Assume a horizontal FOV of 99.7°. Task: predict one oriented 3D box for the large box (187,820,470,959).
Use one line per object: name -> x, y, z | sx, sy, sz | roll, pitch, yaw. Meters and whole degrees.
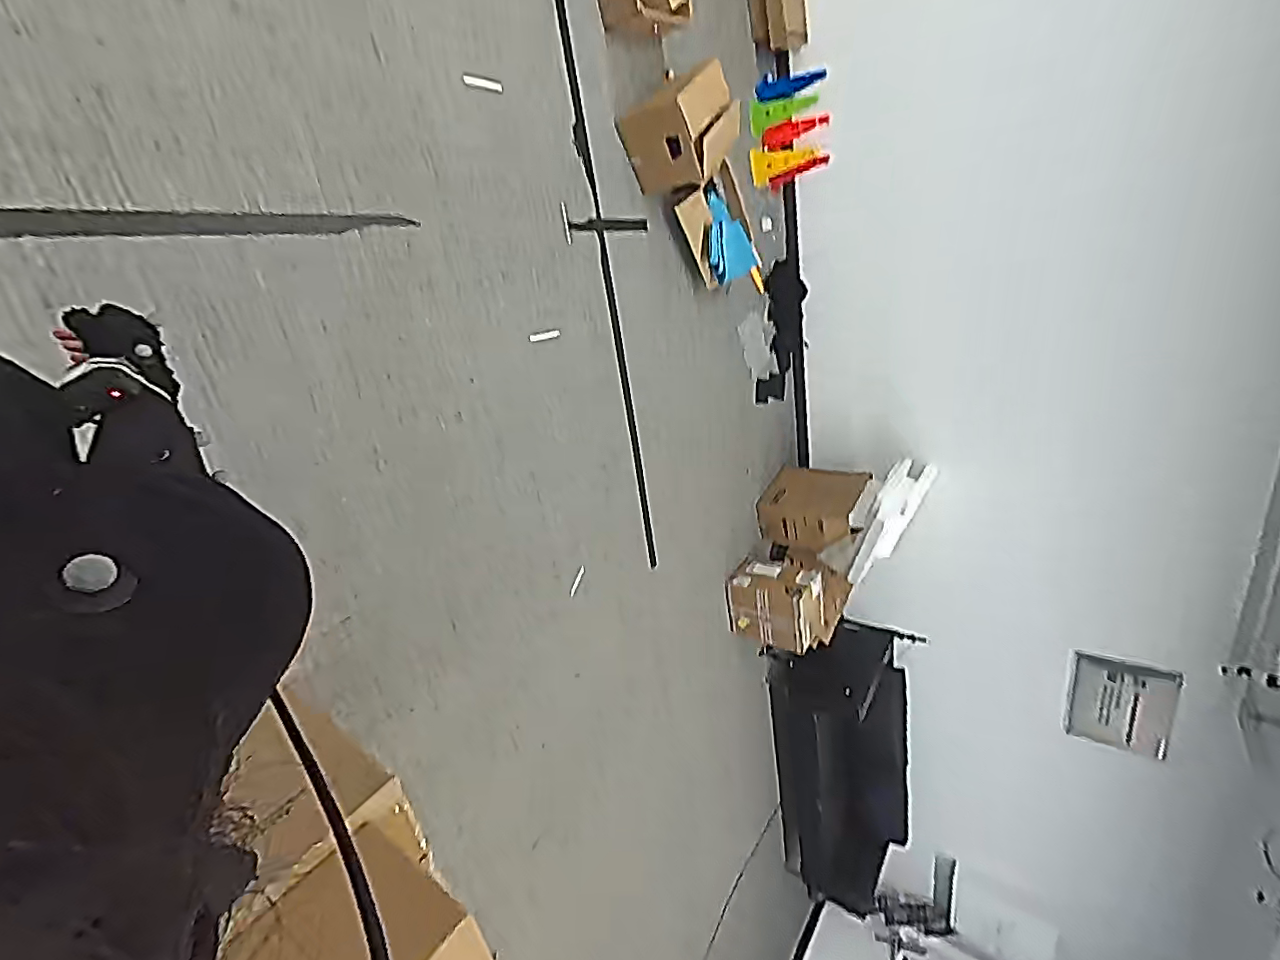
large box -> -0.498, 0.841, 0.813 | 0.408, 0.320, 0.320 | -34, 121, -46
